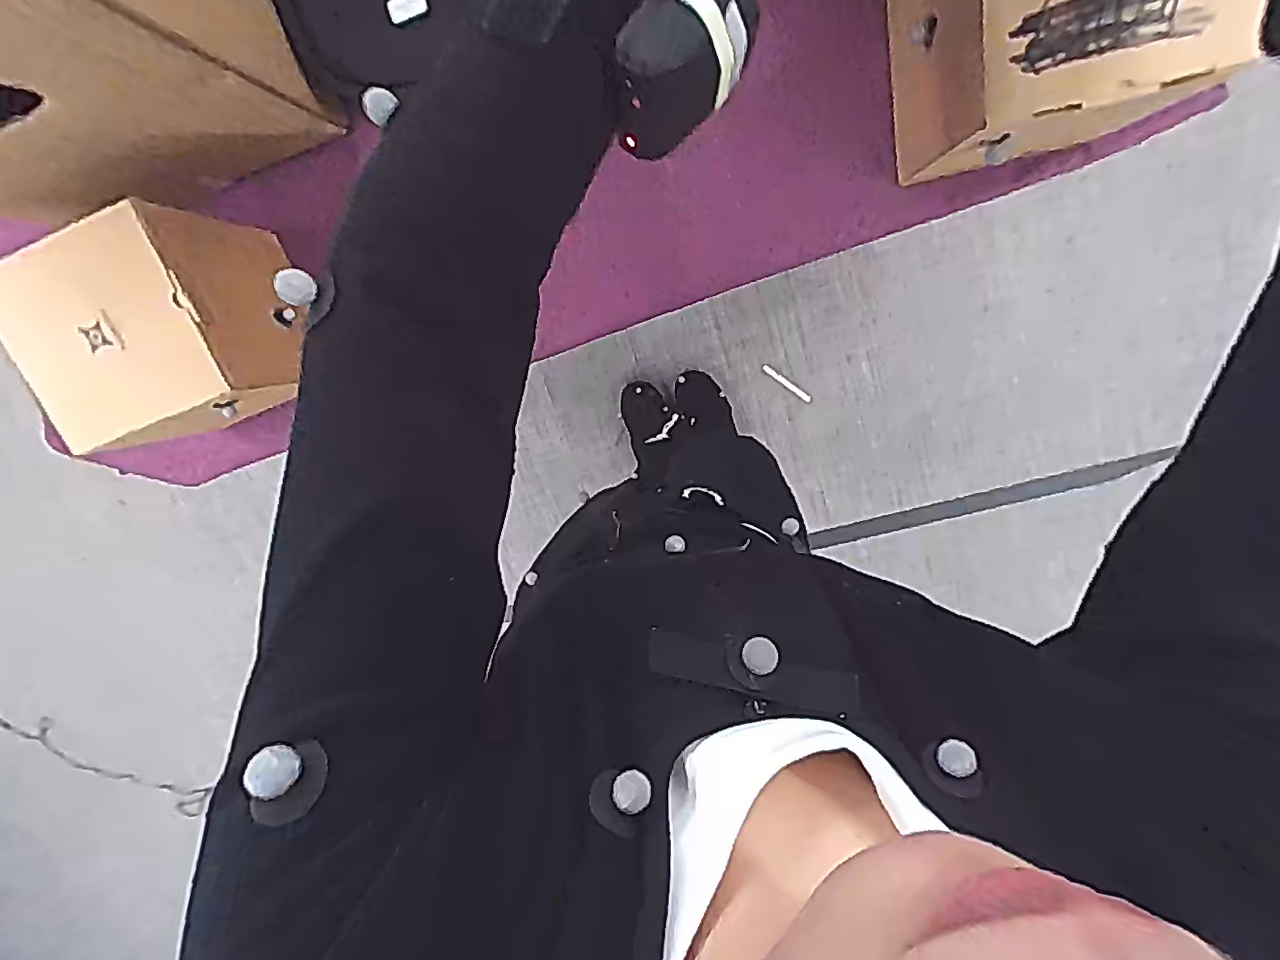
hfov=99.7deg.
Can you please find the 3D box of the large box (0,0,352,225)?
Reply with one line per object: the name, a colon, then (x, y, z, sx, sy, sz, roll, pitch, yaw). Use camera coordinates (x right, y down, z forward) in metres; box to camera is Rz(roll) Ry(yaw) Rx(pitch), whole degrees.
large box: (-0.508, -0.458, 0.390, 0.320, 0.320, 0.408, -16, 107, 11)
